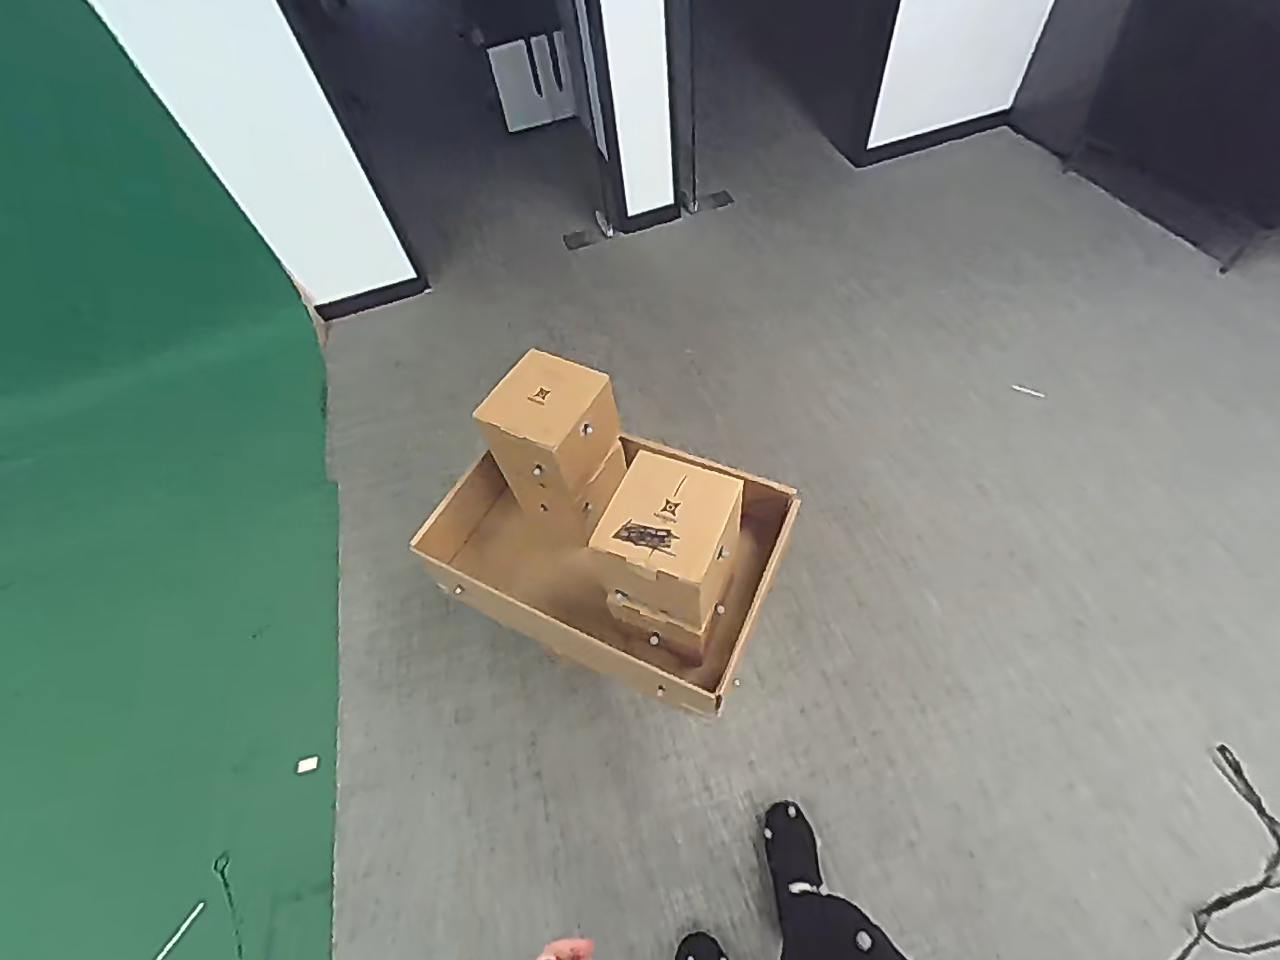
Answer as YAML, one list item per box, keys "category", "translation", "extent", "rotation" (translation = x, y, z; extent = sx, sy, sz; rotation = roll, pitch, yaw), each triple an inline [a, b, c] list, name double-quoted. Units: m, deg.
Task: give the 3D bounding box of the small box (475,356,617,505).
- category: "small box"
  translation: [-0.154, -0.083, 0.963]
  extent: [0.168, 0.176, 0.179]
  rotation: [24, 61, 19]

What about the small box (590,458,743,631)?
- category: "small box"
  translation: [0.047, 0.101, 0.813]
  extent: [0.168, 0.176, 0.179]
  rotation: [18, 59, 18]
